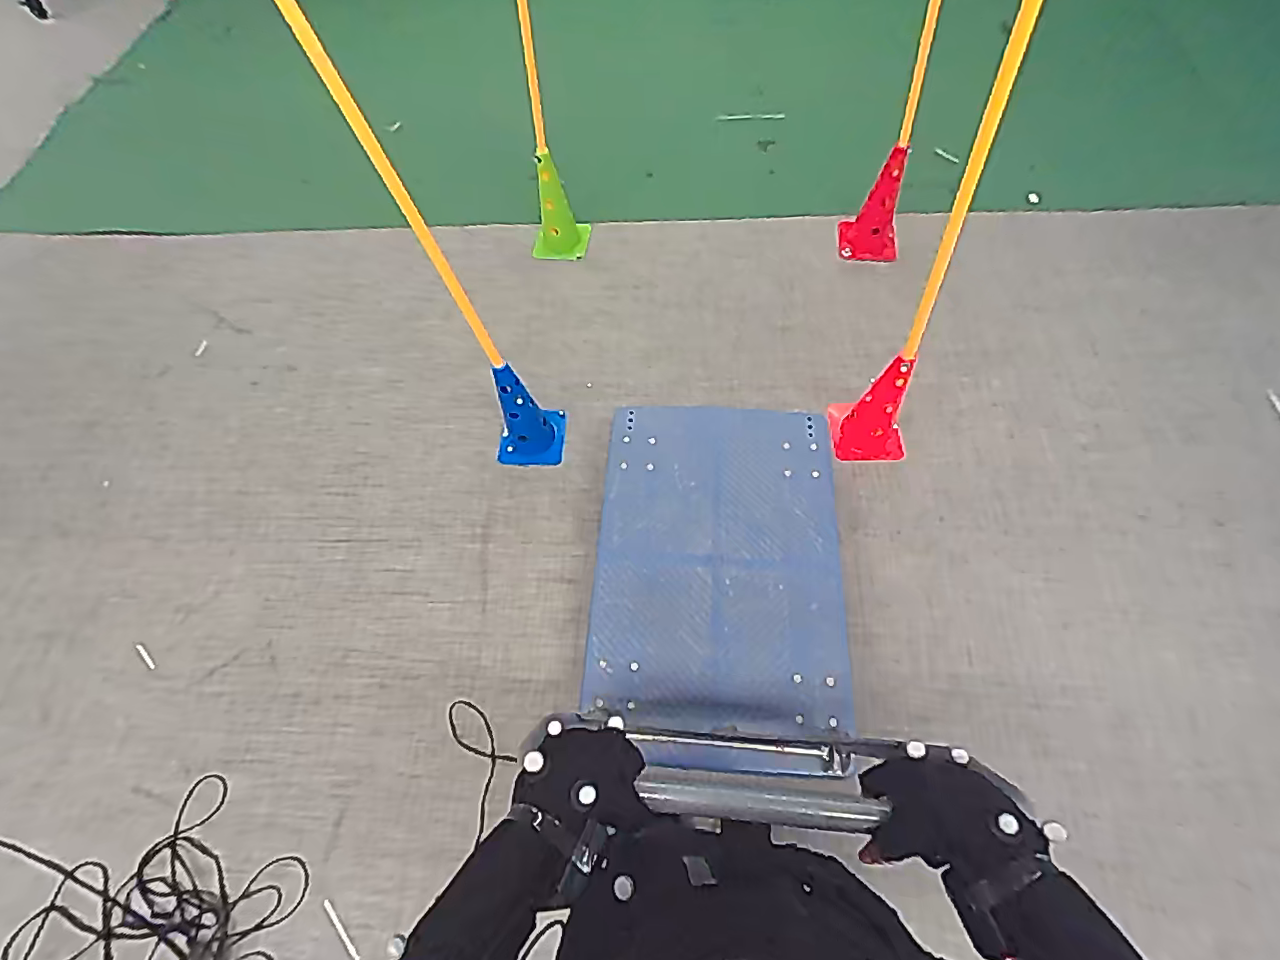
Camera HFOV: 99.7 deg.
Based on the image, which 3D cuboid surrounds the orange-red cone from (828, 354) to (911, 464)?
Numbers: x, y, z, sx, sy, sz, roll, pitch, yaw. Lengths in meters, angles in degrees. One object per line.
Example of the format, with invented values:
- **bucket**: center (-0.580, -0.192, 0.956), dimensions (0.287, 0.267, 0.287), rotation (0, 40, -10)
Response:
- **orange-red cone**: center (0.660, -0.213, 1.480), dimensions (0.199, 0.360, 0.198), rotation (0, 62, 6)

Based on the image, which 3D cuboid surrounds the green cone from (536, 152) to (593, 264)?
- **green cone**: center (-0.304, -0.989, 1.937), dimensions (0.202, 0.368, 0.200), rotation (4, 63, 7)
